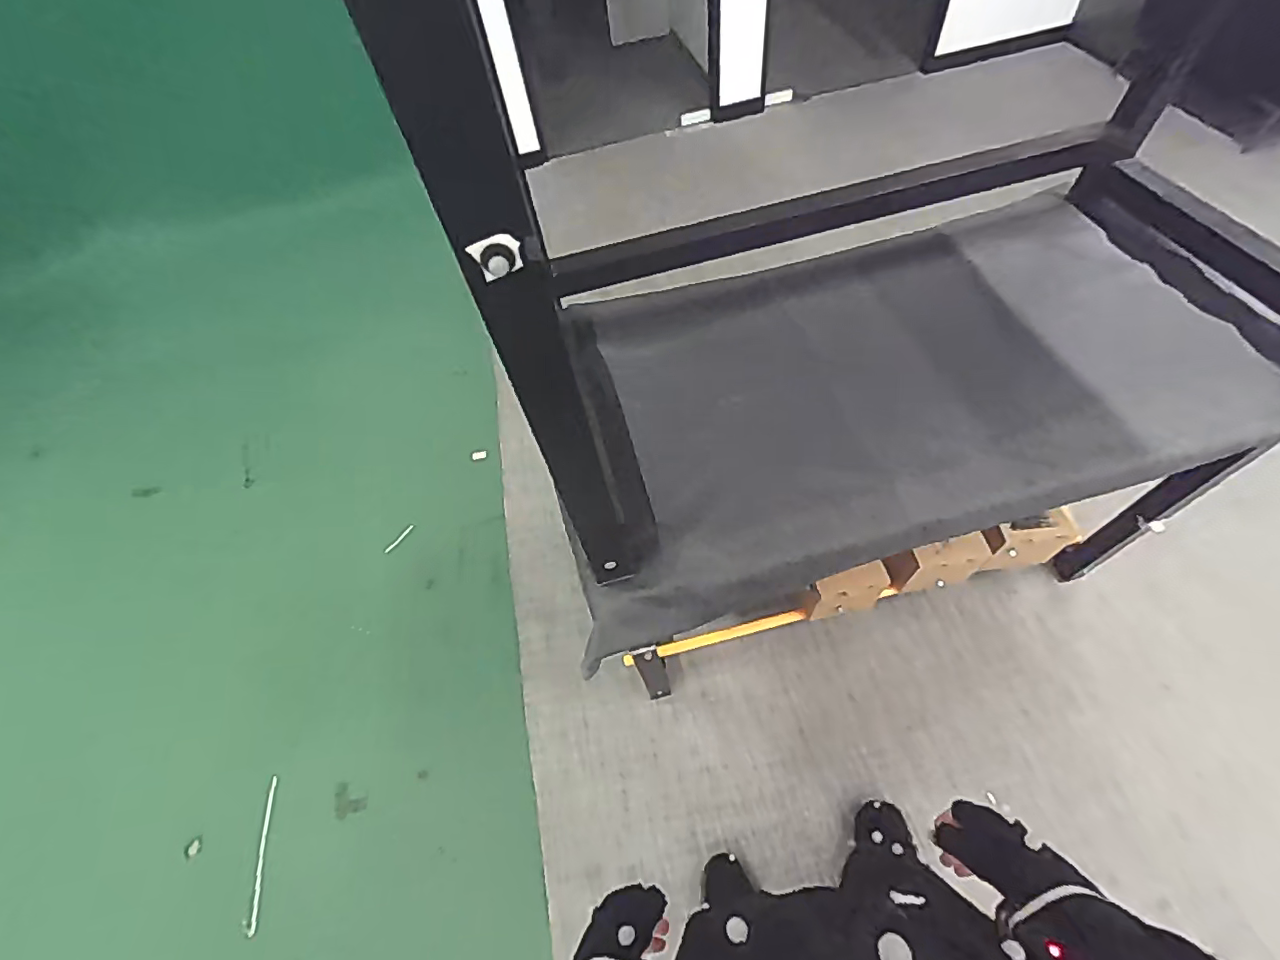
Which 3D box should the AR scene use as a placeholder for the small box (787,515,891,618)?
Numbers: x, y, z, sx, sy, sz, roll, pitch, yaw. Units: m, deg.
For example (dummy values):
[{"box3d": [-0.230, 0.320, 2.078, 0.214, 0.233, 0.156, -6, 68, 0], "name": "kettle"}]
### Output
[{"box3d": [0.469, 0.213, 1.308, 0.168, 0.176, 0.179, -13, 59, -1], "name": "small box"}]
